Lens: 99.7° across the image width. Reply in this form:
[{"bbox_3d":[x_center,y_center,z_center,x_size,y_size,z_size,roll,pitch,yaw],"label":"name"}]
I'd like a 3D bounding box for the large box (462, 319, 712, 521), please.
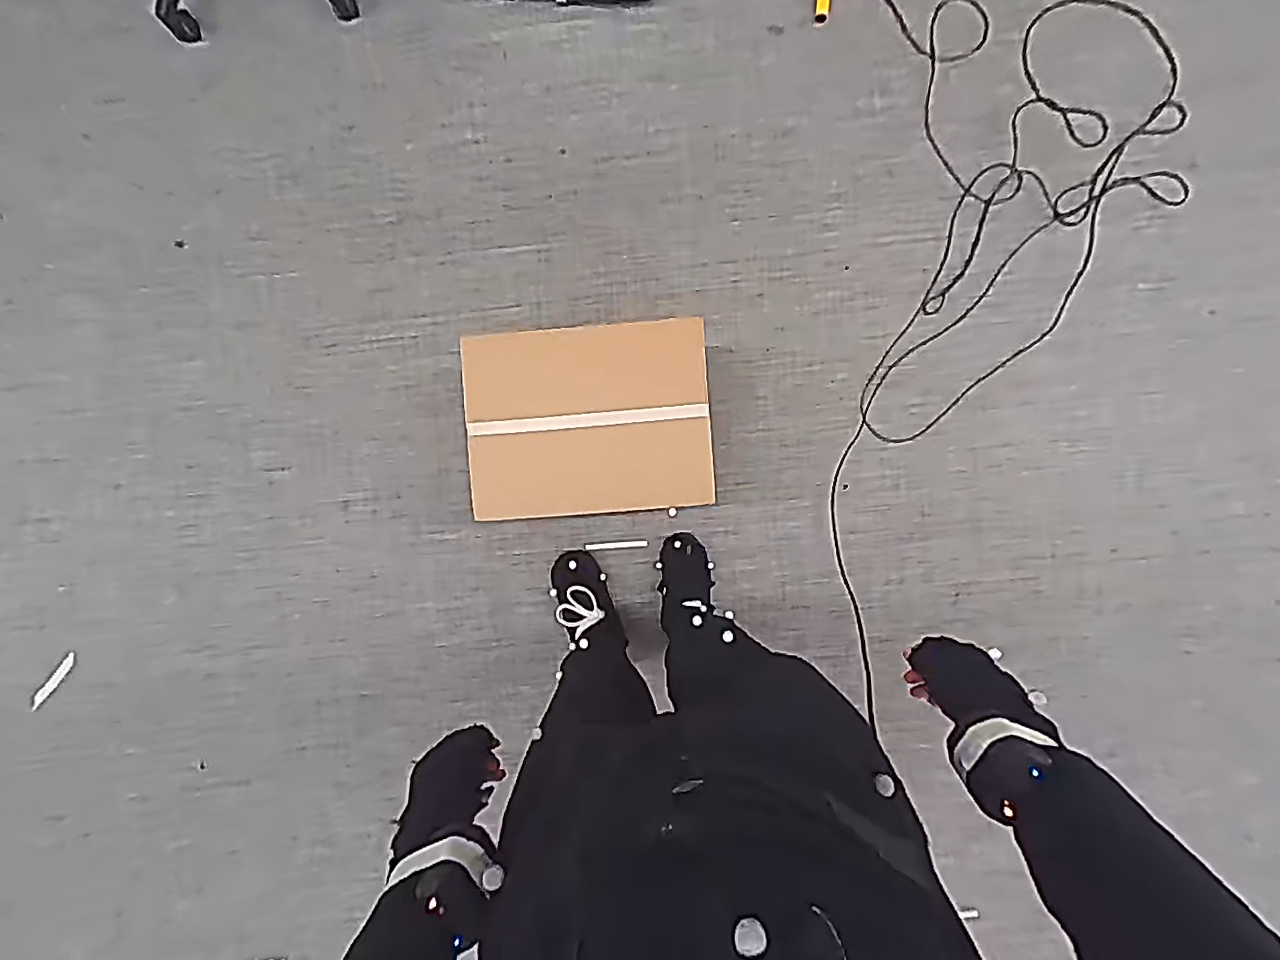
[{"bbox_3d":[-0.085,-0.102,1.052,0.408,0.320,0.320,-4,90,1],"label":"large box"}]
